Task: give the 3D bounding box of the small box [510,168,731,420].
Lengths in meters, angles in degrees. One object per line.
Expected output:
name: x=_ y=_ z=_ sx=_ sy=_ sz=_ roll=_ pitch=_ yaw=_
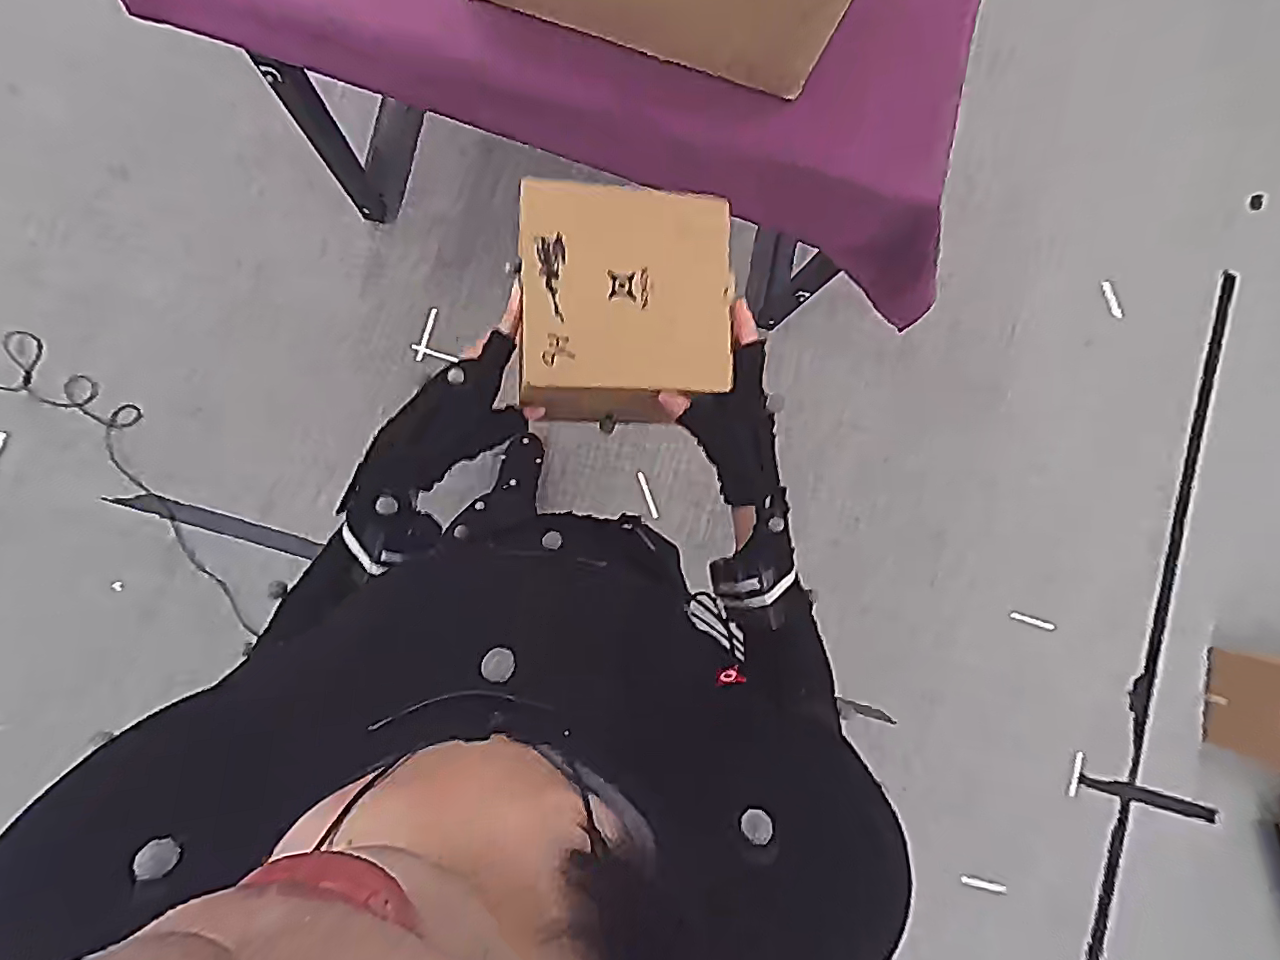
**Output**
small box: x=-0.029 y=-0.153 z=0.509 sx=0.179 sy=0.176 sz=0.168 roll=0 pitch=86 yaw=-14
